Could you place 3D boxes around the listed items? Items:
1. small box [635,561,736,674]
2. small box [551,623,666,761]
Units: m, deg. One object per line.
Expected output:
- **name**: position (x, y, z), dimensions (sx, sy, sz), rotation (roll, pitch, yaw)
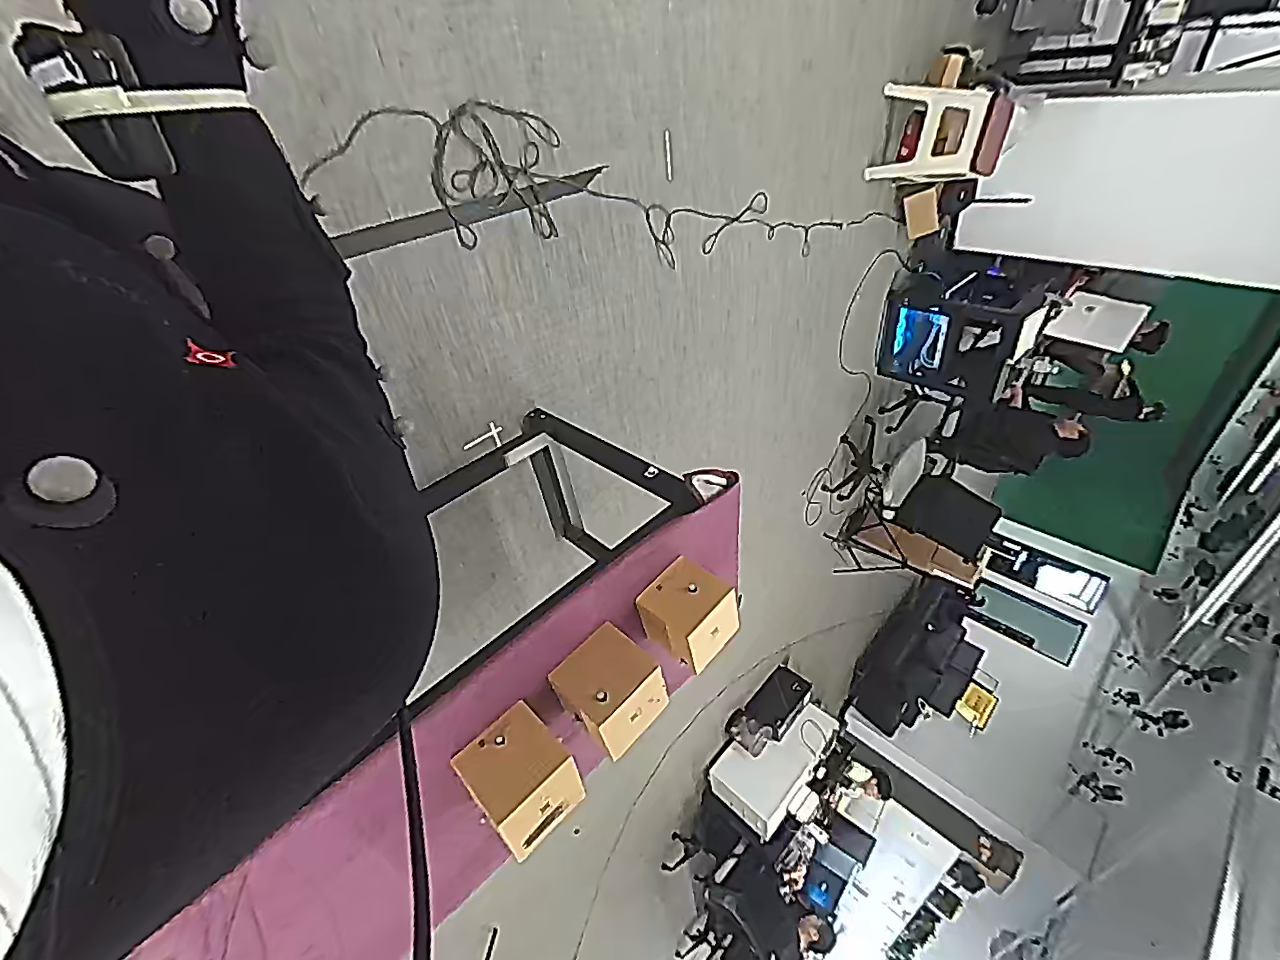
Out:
- **small box**: position (0.108, 0.316, 1.288), dimensions (0.168, 0.176, 0.179), rotation (-41, 139, -25)
- **small box**: position (-0.071, 0.448, 1.159), dimensions (0.179, 0.176, 0.168), rotation (-38, 138, -28)
